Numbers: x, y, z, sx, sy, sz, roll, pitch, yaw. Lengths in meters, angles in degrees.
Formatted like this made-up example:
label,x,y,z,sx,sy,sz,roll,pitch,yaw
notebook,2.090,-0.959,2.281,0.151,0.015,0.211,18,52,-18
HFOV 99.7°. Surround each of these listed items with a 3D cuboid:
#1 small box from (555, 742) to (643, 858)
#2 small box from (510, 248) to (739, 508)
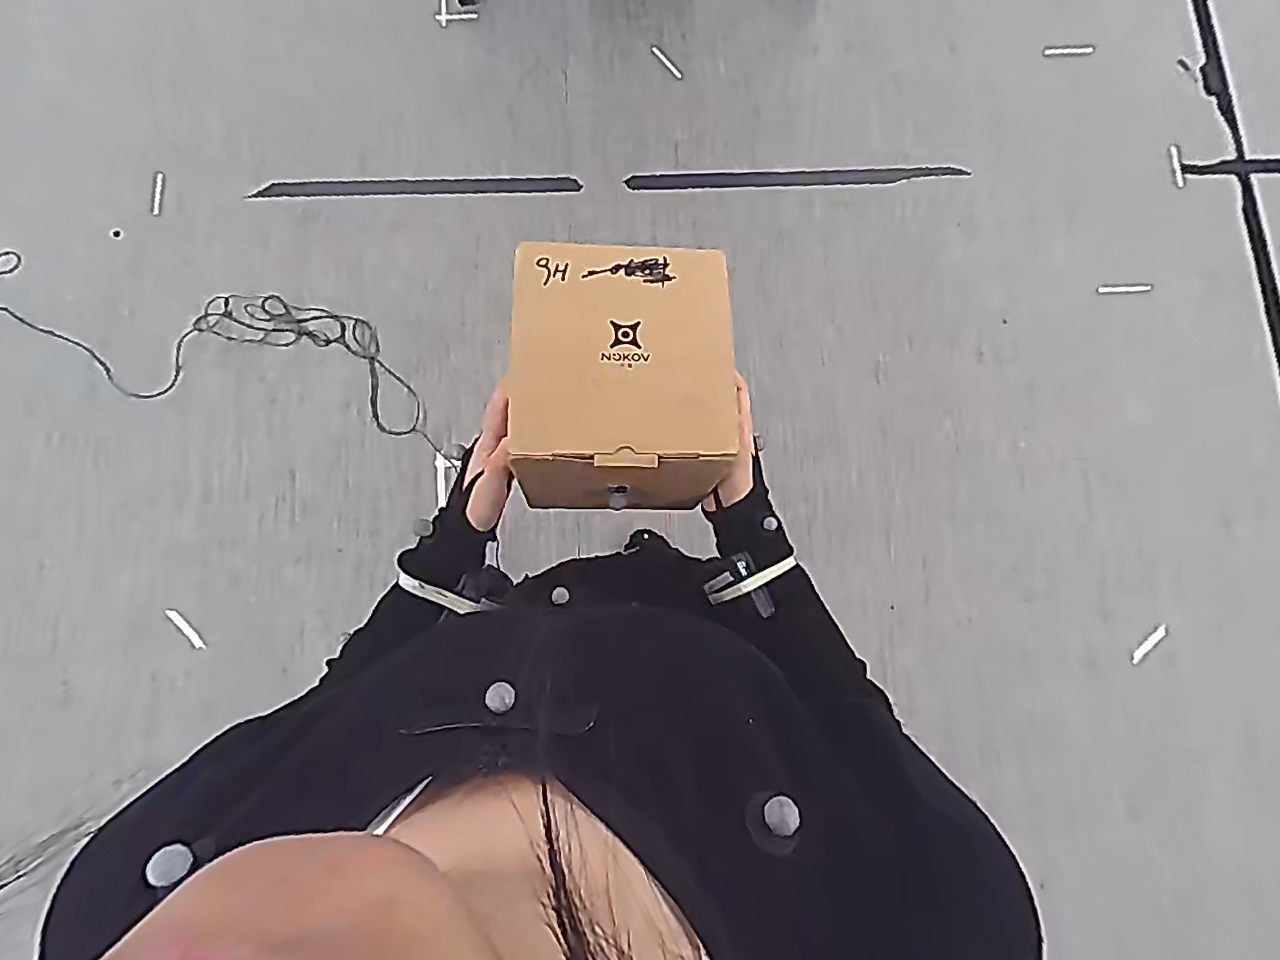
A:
label,x,y,z,sx,sy,sz,roll,pitch,yaw
small box,-0.087,0.689,1.184,0.179,0.176,0.168,-4,81,-1
small box,-0.017,-0.073,0.476,0.168,0.176,0.179,0,75,-6
